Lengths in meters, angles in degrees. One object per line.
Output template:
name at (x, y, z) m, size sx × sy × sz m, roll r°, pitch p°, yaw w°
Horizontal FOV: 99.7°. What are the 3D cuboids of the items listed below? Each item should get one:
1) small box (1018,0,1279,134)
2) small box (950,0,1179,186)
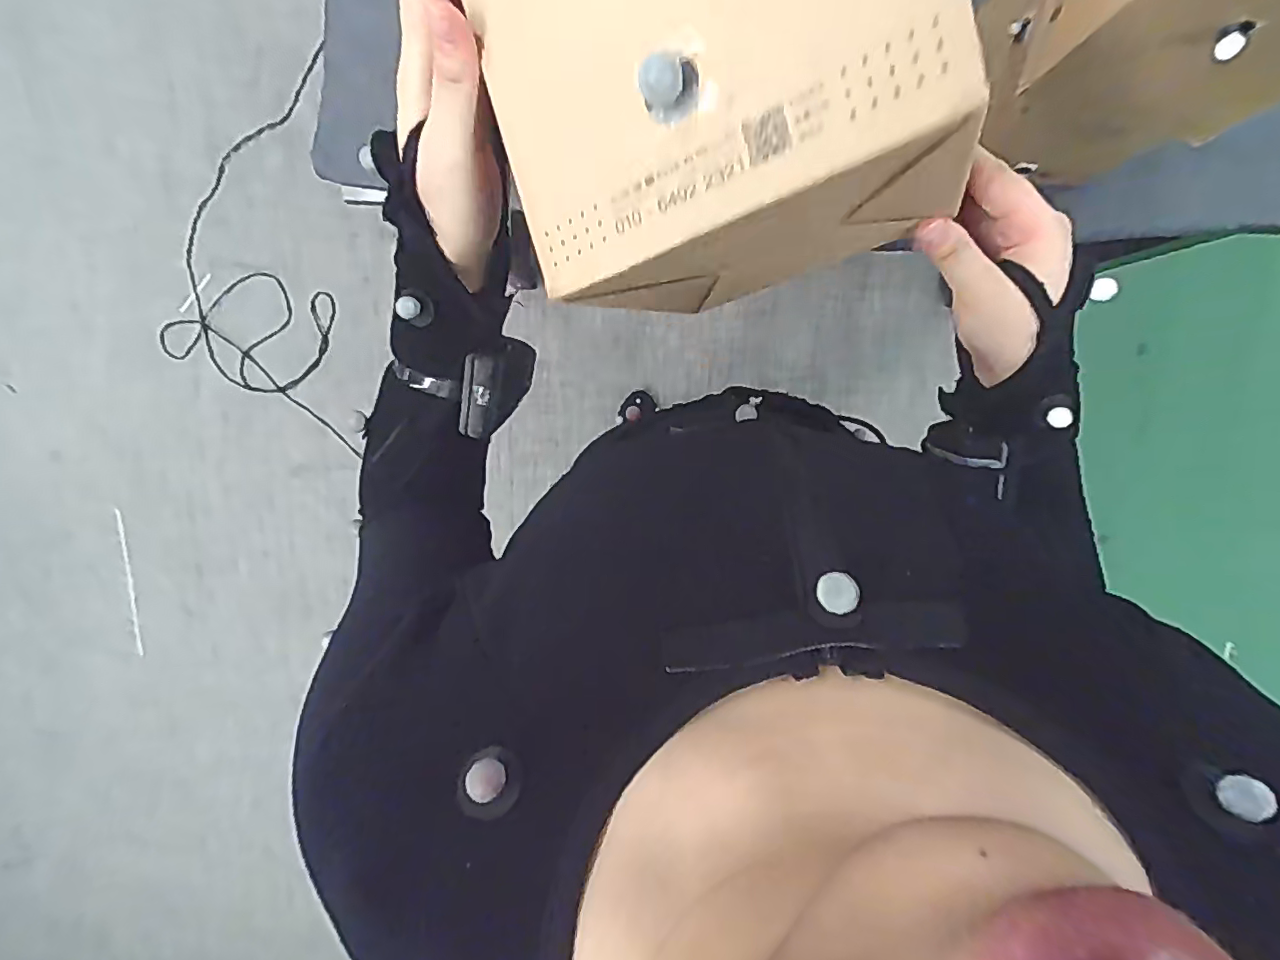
small box at (0.444, -0.397, 0.408) m, size 0.179 × 0.176 × 0.168 m, roll 15°, pitch 99°, yaw 3°
small box at (0.456, -0.437, 0.566) m, size 0.168 × 0.176 × 0.179 m, roll 5°, pitch 99°, yaw 4°
